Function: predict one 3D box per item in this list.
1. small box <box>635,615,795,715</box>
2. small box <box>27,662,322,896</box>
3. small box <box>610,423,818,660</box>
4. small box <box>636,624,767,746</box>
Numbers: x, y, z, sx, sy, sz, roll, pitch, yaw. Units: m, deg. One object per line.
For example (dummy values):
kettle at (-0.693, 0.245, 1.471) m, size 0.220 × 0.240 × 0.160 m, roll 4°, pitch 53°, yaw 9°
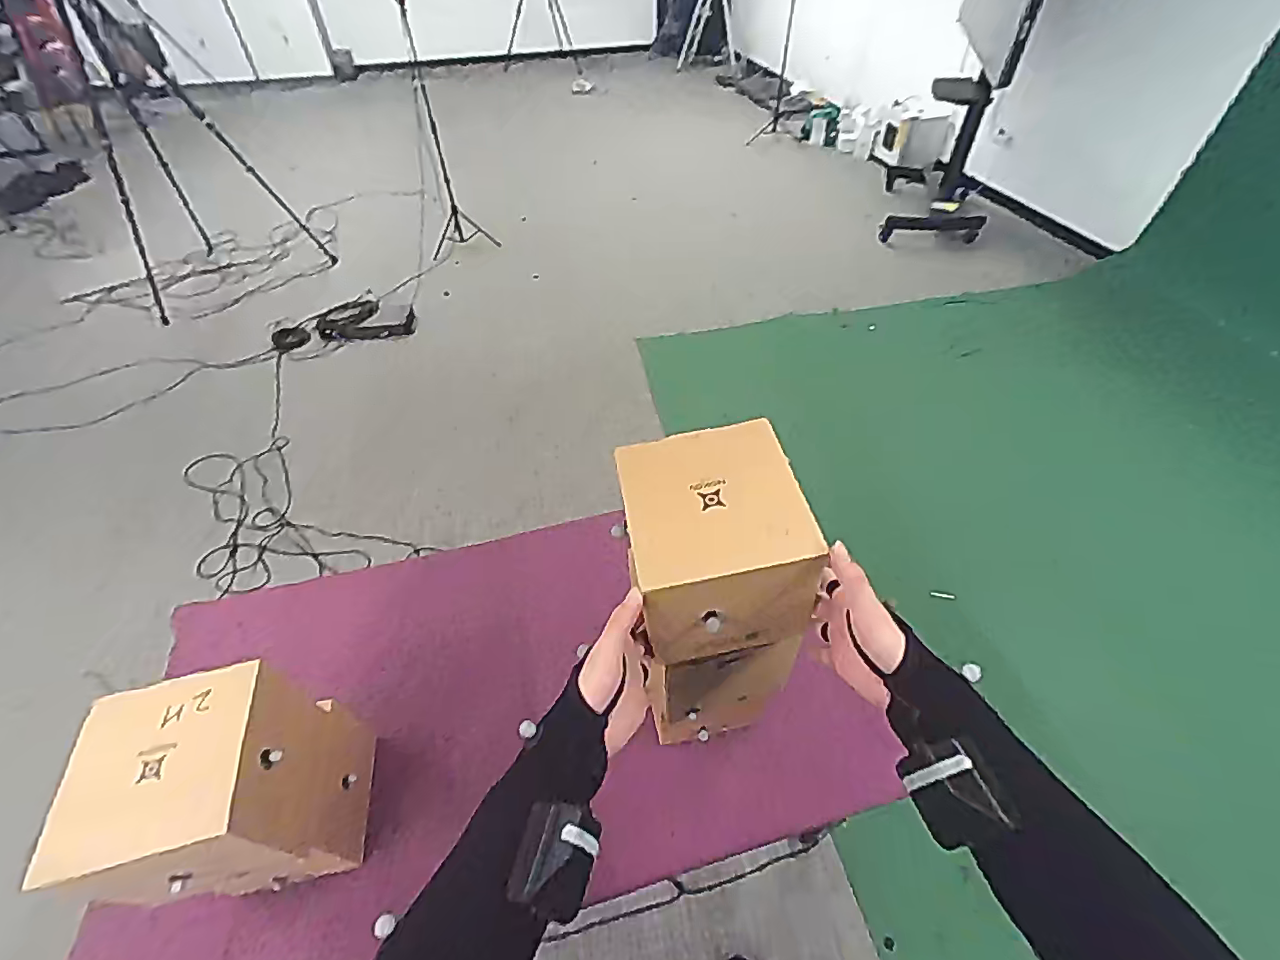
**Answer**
small box at (0.085, 0.190, 0.718) m, size 0.168 × 0.176 × 0.179 m, roll -12°, pitch 46°, yaw -8°
small box at (-0.480, 0.334, 0.599) m, size 0.168 × 0.176 × 0.179 m, roll -11°, pitch 49°, yaw -10°
small box at (0.071, 0.072, 0.567) m, size 0.168 × 0.176 × 0.179 m, roll -12°, pitch 48°, yaw 0°
small box at (0.087, 0.288, 0.851) m, size 0.168 × 0.176 × 0.179 m, roll -11°, pitch 48°, yaw -6°
